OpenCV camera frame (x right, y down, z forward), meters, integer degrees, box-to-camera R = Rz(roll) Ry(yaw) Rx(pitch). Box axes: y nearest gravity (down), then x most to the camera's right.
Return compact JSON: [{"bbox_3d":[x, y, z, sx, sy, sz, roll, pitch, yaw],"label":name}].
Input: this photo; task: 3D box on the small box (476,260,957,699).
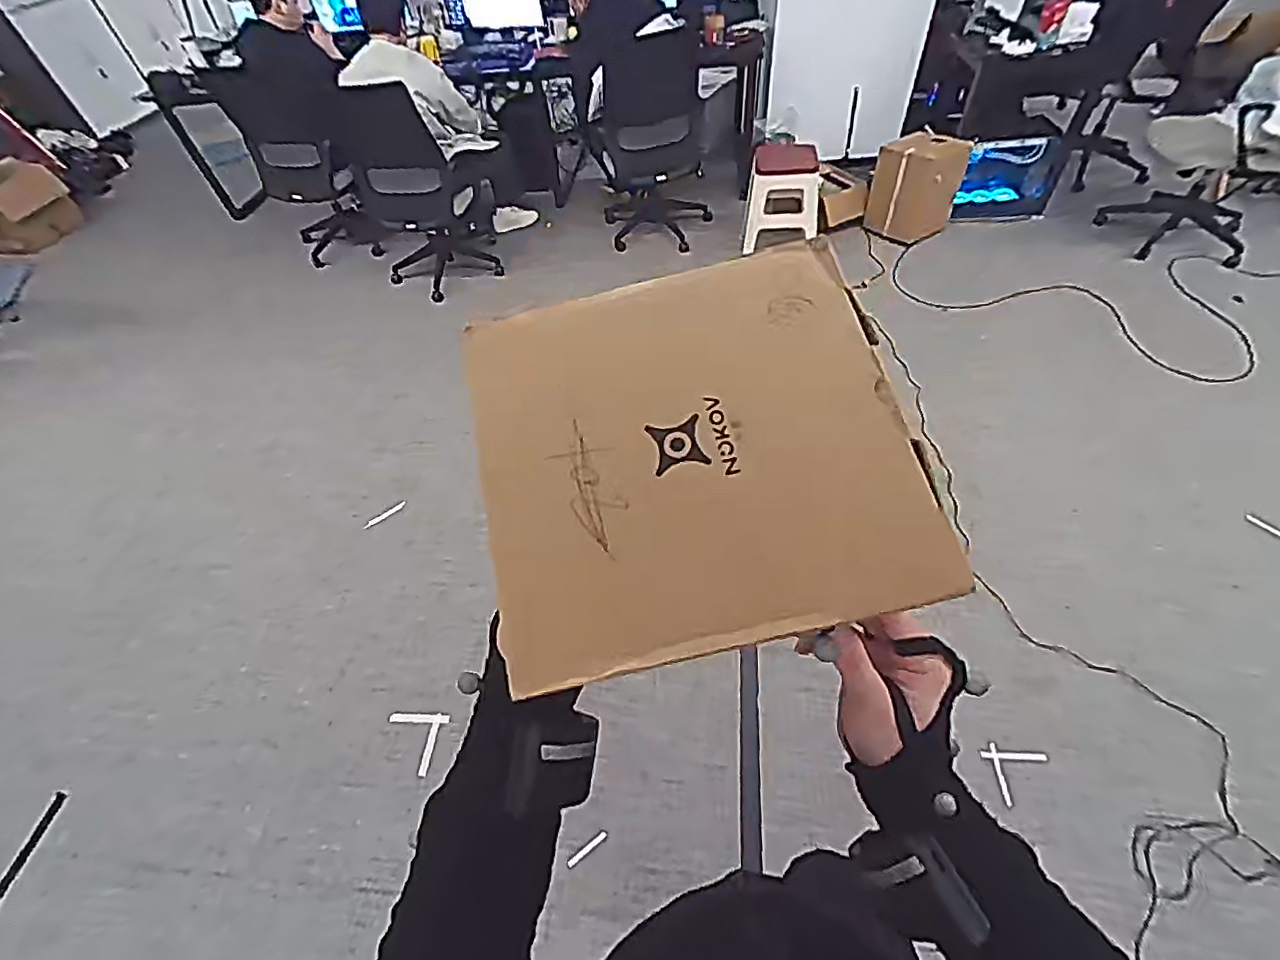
[{"bbox_3d":[0.030,0.015,0.309,0.179,0.176,0.168,-15,71,3],"label":"small box"}]
